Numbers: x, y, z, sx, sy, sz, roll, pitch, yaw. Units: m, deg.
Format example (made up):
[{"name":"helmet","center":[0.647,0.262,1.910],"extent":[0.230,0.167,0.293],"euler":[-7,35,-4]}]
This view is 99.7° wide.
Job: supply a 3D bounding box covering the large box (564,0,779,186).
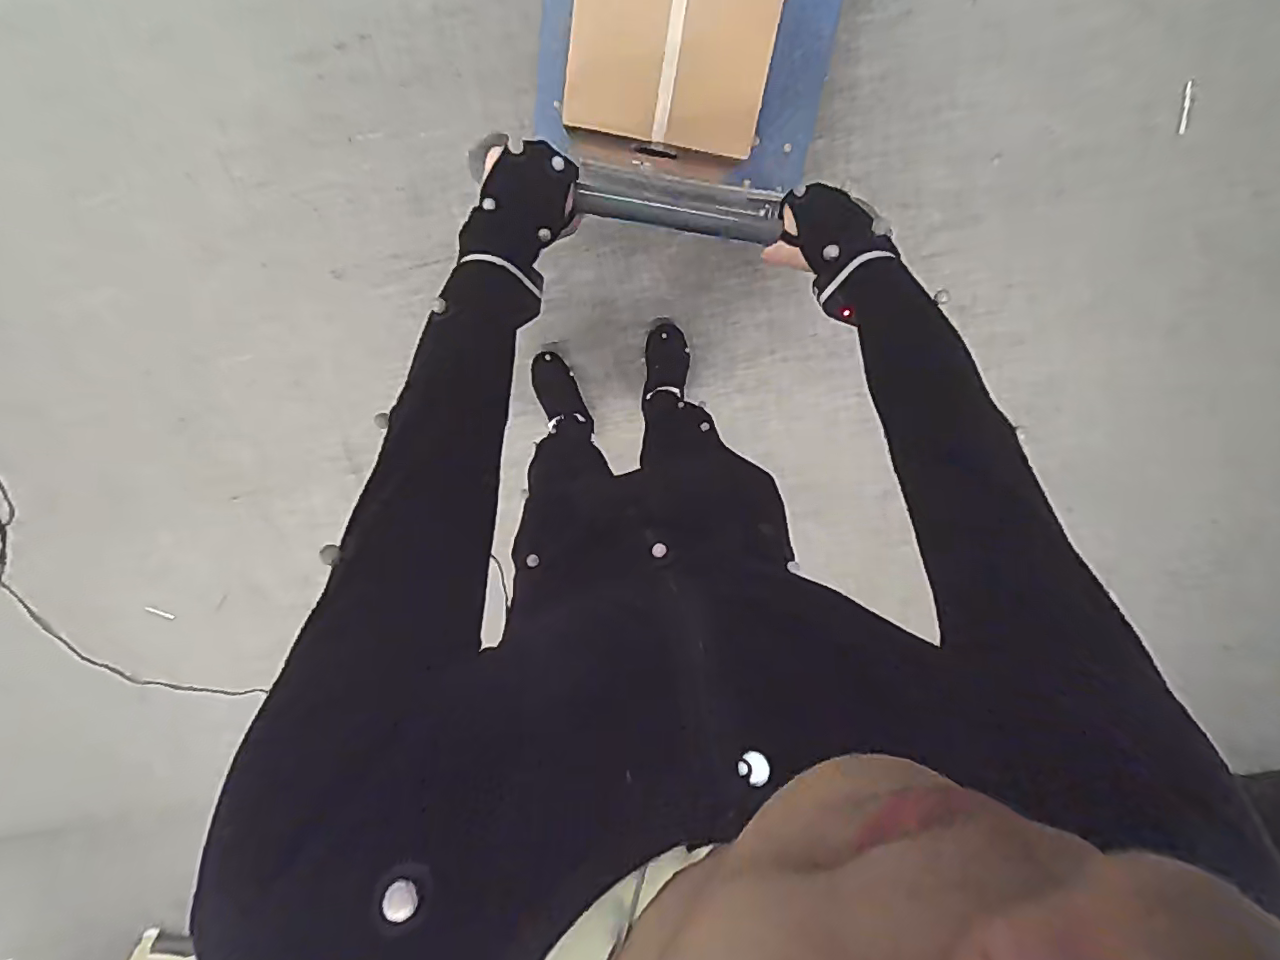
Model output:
[{"name":"large box","center":[0.056,-0.784,0.958],"extent":[0.320,0.320,0.408],"euler":[8,111,-4]}]
